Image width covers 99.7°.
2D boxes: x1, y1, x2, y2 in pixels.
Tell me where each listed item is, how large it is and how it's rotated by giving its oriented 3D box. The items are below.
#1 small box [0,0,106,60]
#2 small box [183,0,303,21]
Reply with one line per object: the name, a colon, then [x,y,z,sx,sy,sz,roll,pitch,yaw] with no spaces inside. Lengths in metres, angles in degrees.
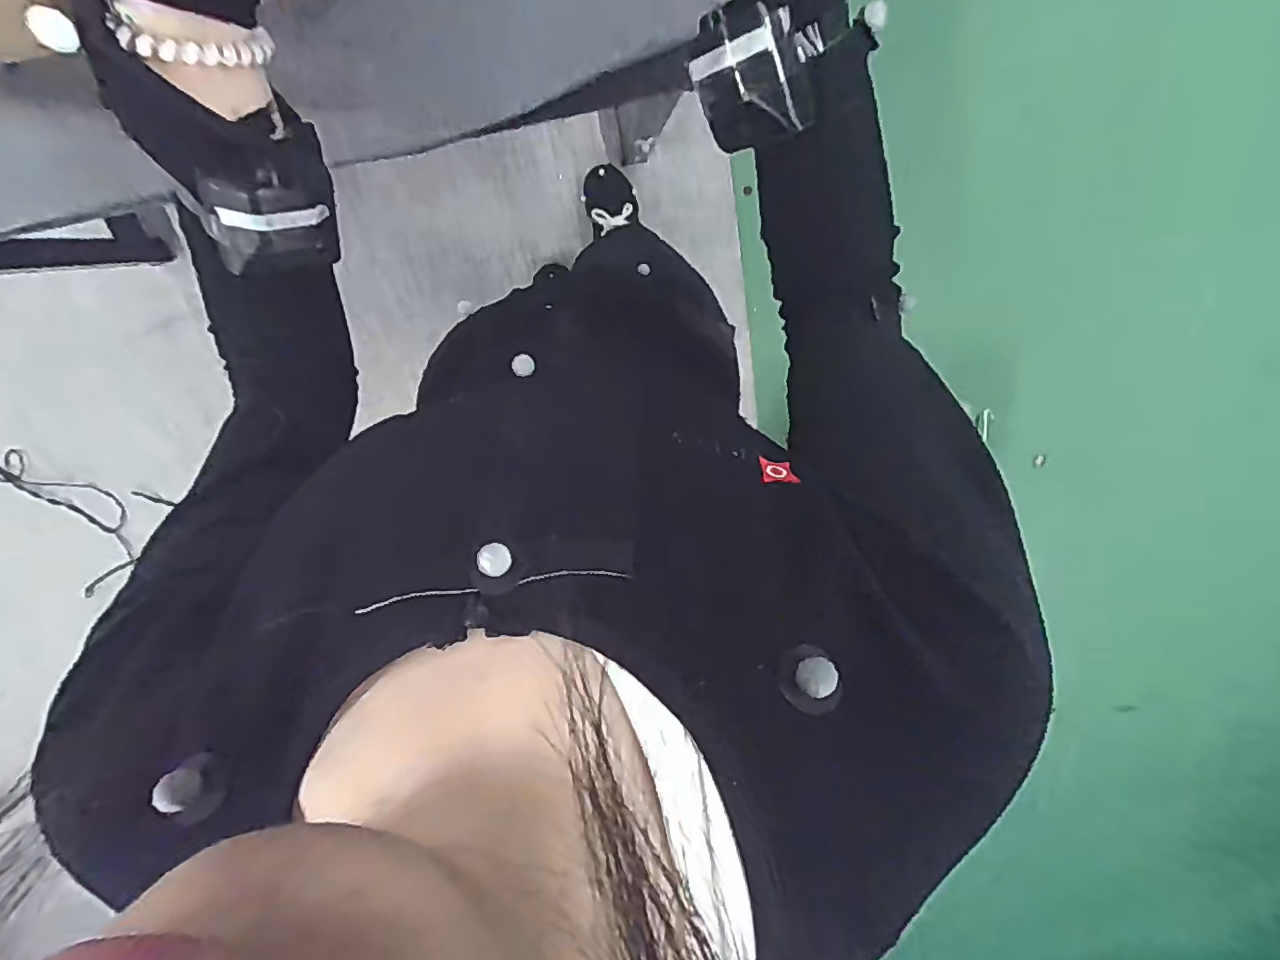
small box: [-0.602,-0.459,0.426,0.168,0.176,0.179,-11,113,0]
small box: [-0.365,-0.512,0.422,0.168,0.176,0.179,-13,114,1]
